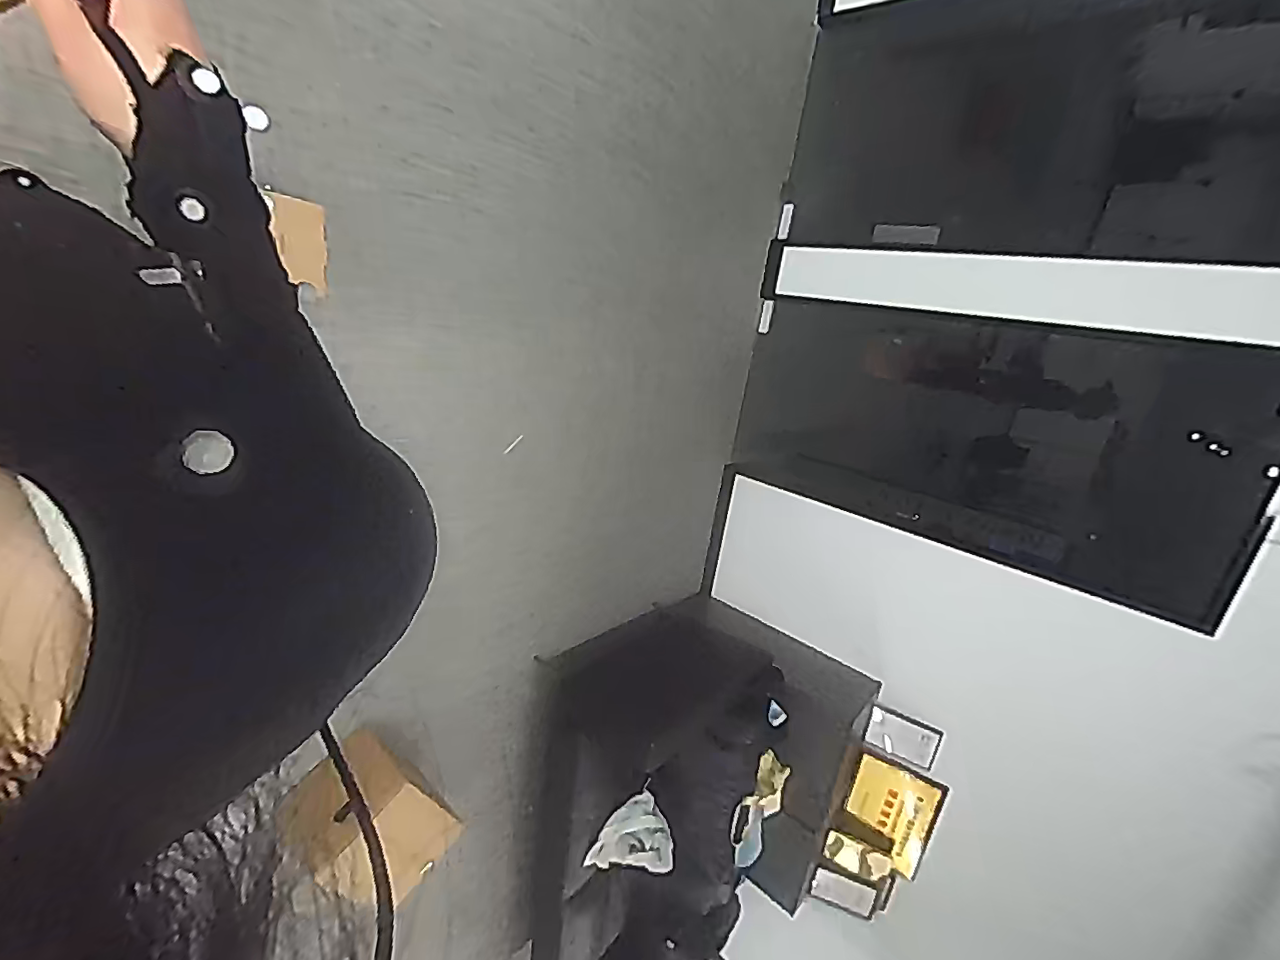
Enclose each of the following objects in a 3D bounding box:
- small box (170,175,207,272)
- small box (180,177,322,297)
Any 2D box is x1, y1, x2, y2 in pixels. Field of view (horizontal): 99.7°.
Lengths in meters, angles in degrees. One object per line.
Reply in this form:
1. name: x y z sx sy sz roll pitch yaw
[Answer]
1. small box: -0.831 -0.500 1.102 0.168 0.176 0.179 -10 115 -49
2. small box: -0.716 -0.444 1.000 0.179 0.176 0.168 -9 113 -48
